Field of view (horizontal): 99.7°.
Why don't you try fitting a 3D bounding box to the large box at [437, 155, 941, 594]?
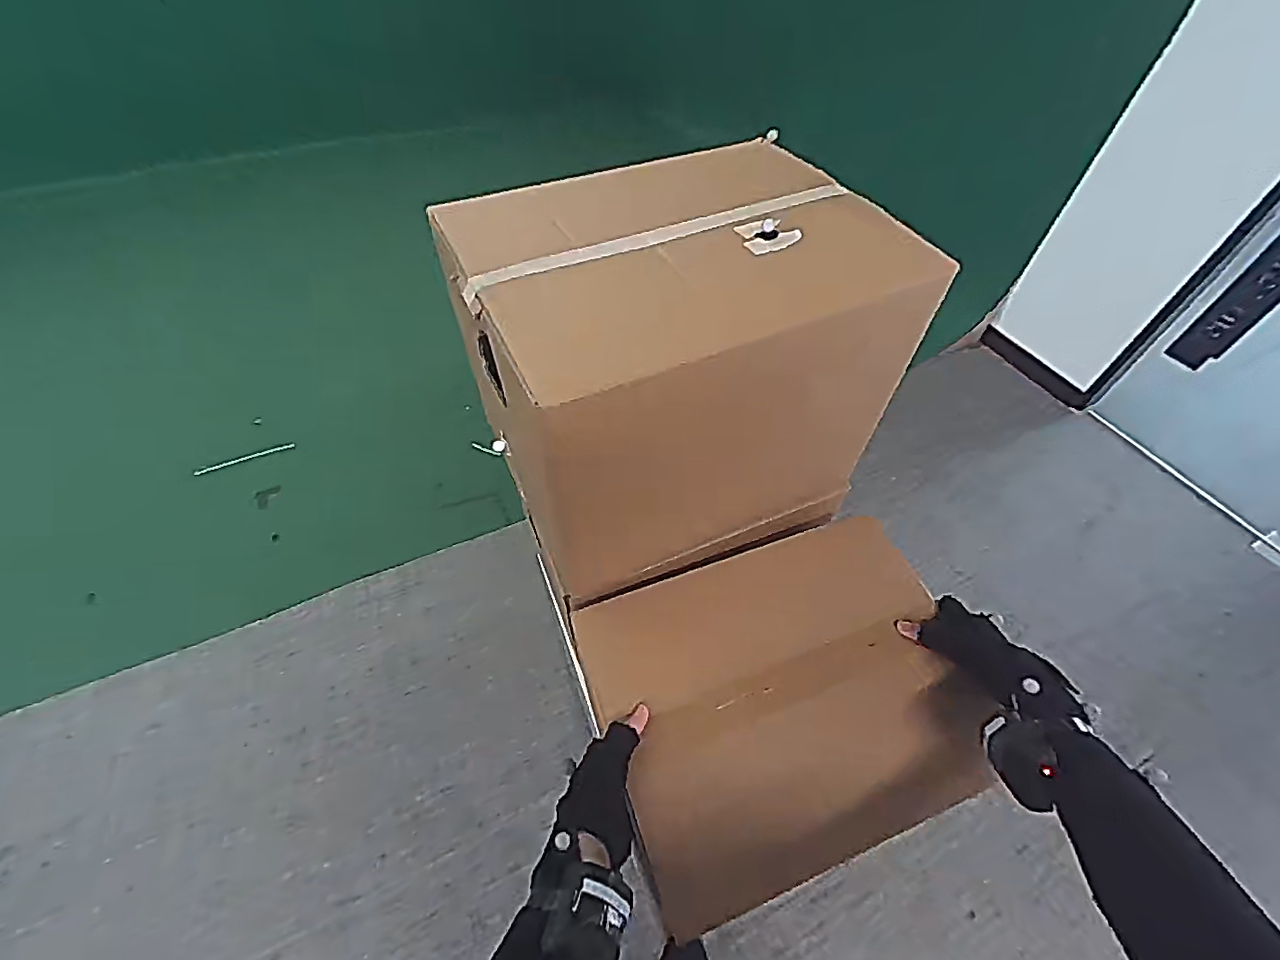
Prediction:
[{"bbox_3d":[0.034,-0.131,0.635,0.408,0.320,0.320,-21,56,-17],"label":"large box"}]
